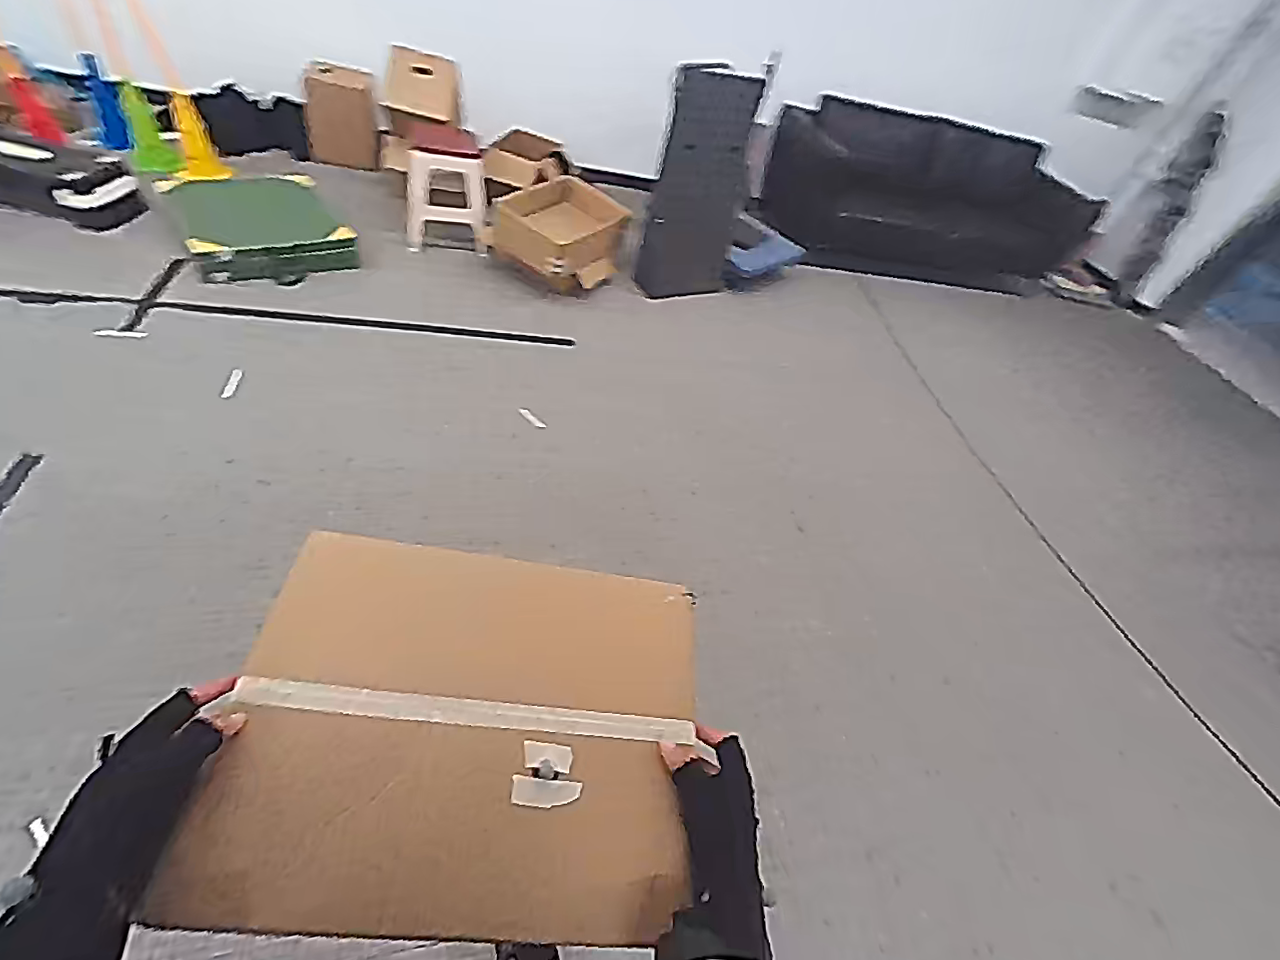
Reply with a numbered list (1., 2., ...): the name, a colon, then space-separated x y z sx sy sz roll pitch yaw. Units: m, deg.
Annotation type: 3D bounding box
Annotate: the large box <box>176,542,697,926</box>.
1. large box: -0.177 0.303 0.626 0.408 0.320 0.320 11 53 -10
